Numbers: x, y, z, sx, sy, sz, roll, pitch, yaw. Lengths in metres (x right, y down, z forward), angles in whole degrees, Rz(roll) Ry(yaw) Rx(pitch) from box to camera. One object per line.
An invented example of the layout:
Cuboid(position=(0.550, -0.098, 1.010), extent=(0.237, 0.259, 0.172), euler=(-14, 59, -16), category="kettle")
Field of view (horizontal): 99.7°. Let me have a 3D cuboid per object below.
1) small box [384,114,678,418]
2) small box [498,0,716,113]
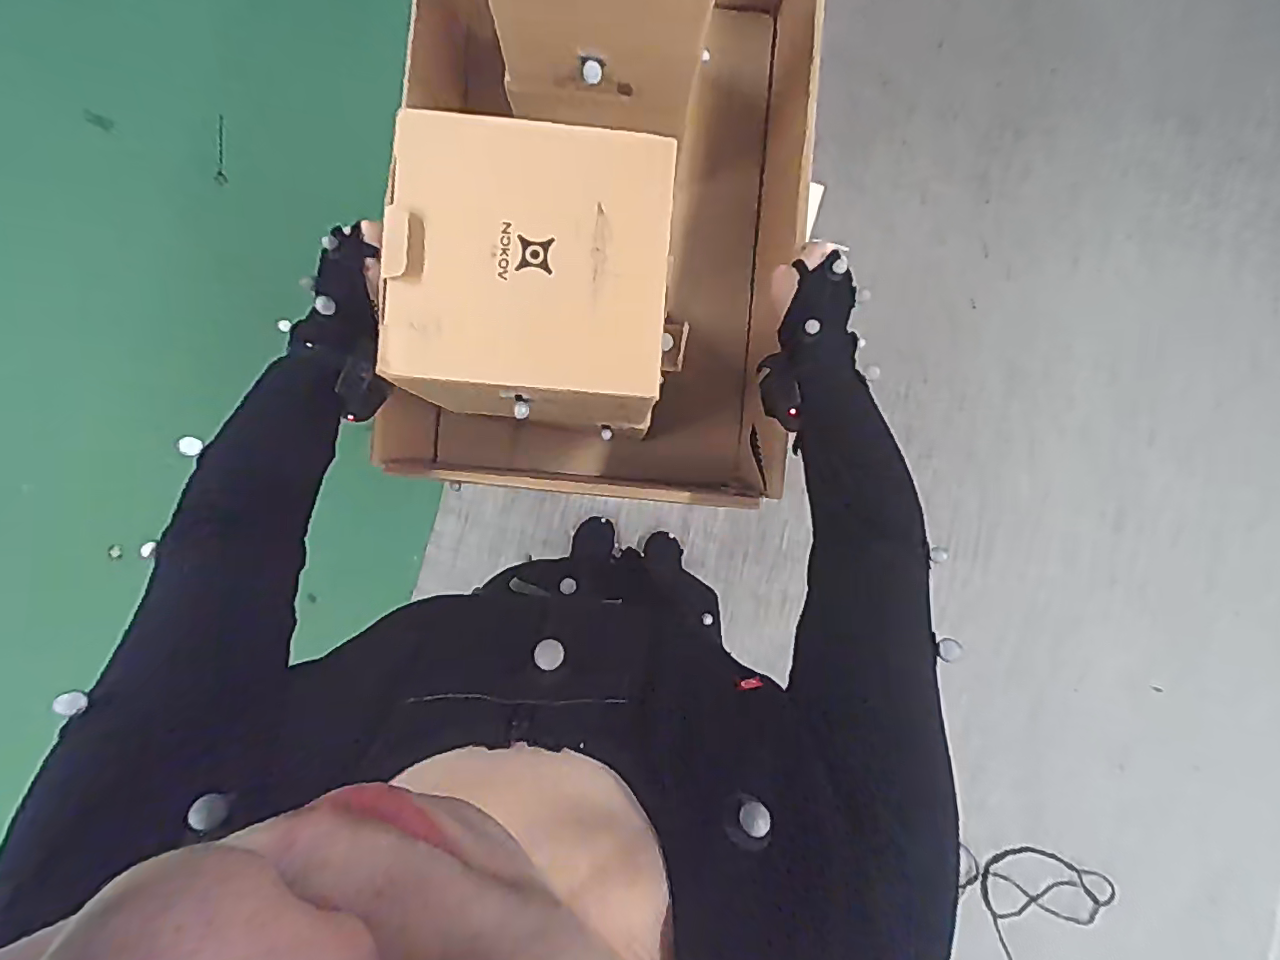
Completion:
Cuboid(position=(-0.073, -0.141, 0.421), extent=(0.179, 0.176, 0.168), euler=(4, 91, -4), category="small box")
Cuboid(position=(-0.023, -0.430, 0.414), extent=(0.168, 0.176, 0.179), euler=(5, 92, -3), category="small box")
